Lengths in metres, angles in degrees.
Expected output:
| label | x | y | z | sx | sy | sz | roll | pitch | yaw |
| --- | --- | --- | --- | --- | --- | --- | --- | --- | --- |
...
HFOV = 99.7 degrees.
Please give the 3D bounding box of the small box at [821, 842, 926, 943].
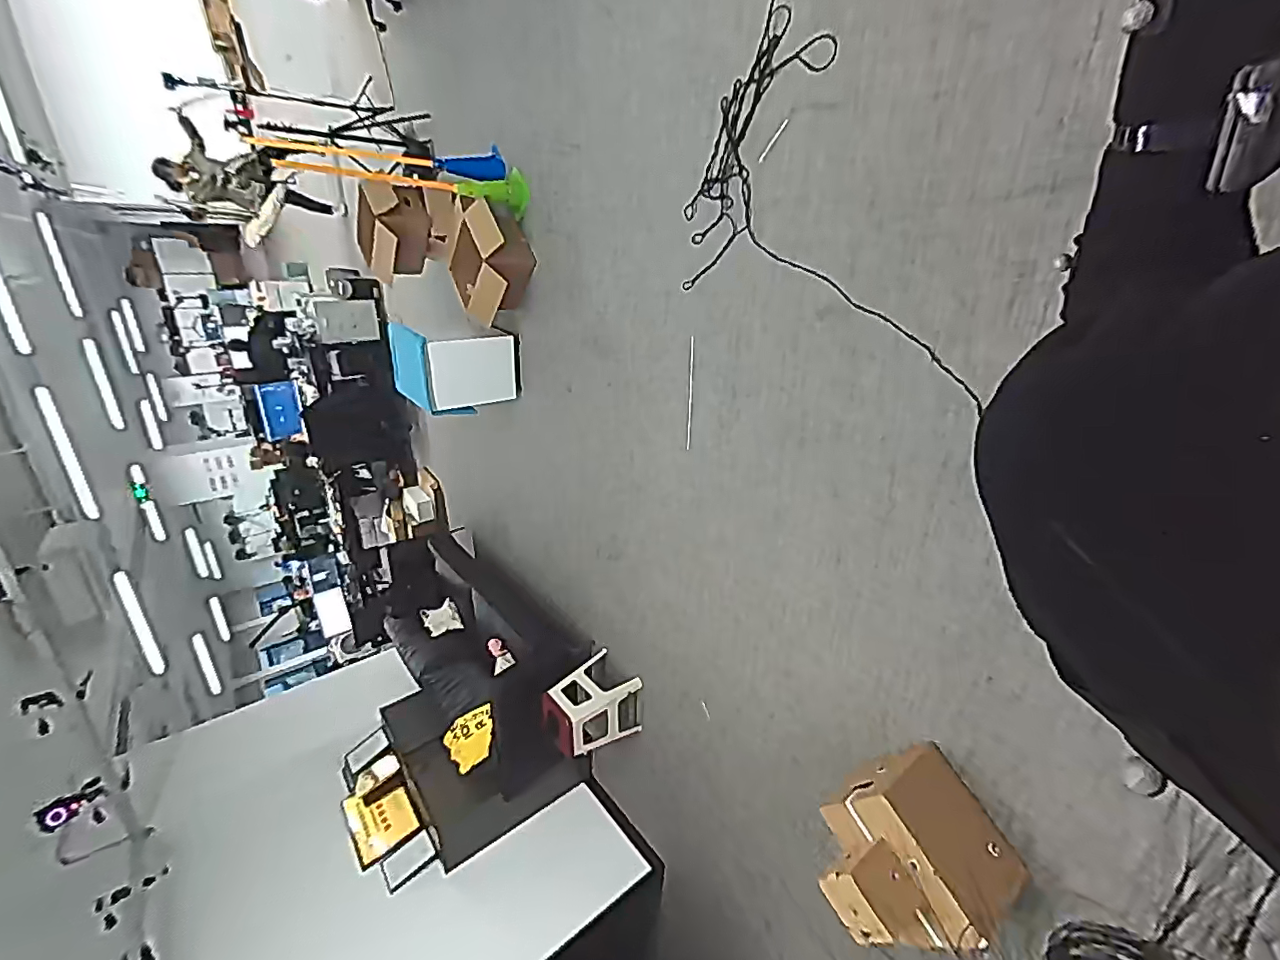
| label | x | y | z | sx | sy | sz | roll | pitch | yaw |
| --- | --- | --- | --- | --- | --- | --- | --- | --- | --- |
| small box | 0.664 | 1.170 | 1.544 | 0.179 | 0.176 | 0.168 | 54 | 142 | 26 |
